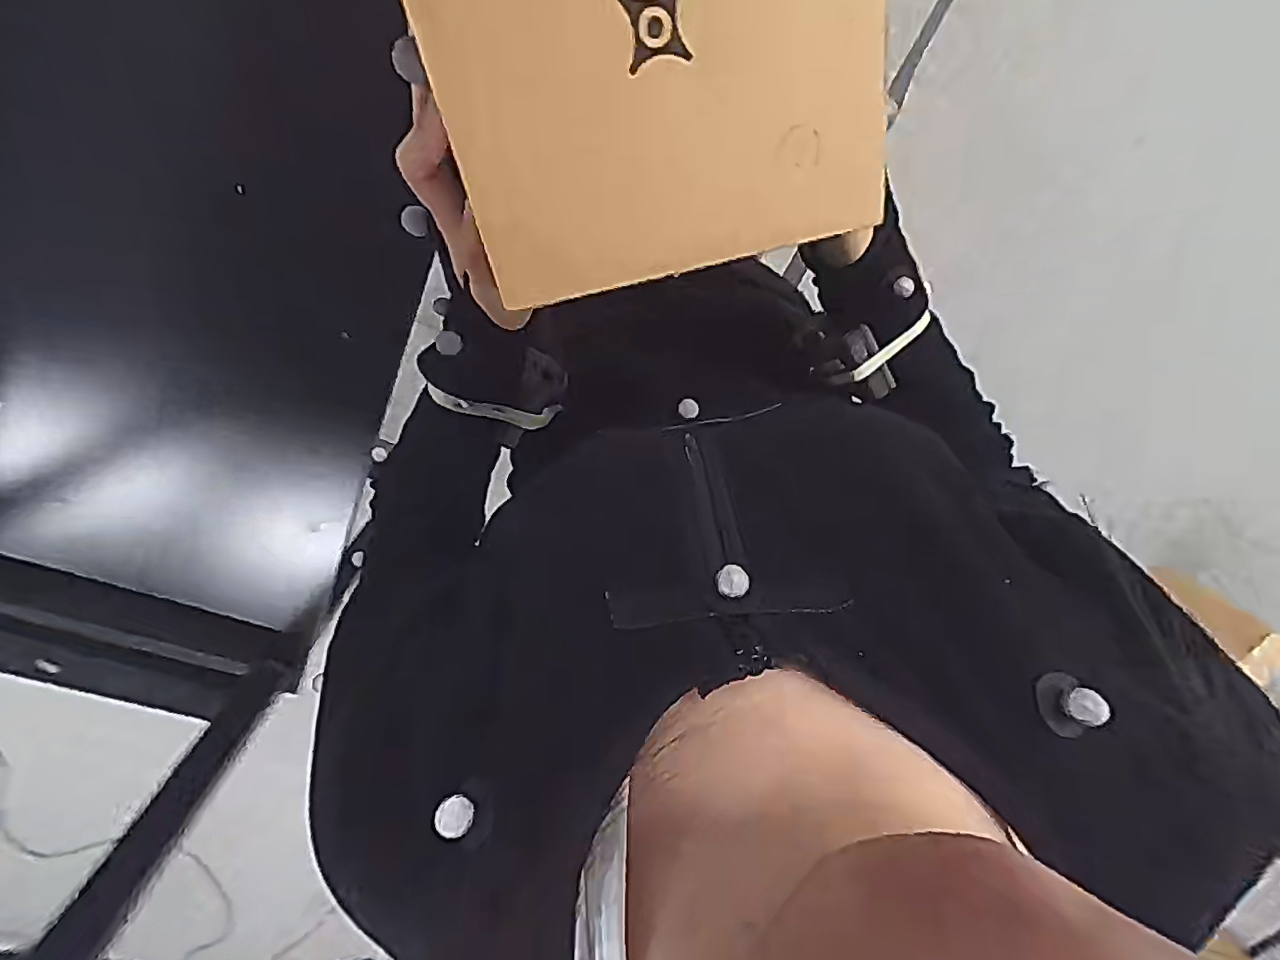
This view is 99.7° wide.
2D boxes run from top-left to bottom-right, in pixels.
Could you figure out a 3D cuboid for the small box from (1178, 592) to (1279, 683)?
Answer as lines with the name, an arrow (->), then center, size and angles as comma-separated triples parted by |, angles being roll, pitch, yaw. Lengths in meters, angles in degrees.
small box -> 1.815, 0.478, 1.649 | 0.168, 0.176, 0.179 | 22, 112, -15
